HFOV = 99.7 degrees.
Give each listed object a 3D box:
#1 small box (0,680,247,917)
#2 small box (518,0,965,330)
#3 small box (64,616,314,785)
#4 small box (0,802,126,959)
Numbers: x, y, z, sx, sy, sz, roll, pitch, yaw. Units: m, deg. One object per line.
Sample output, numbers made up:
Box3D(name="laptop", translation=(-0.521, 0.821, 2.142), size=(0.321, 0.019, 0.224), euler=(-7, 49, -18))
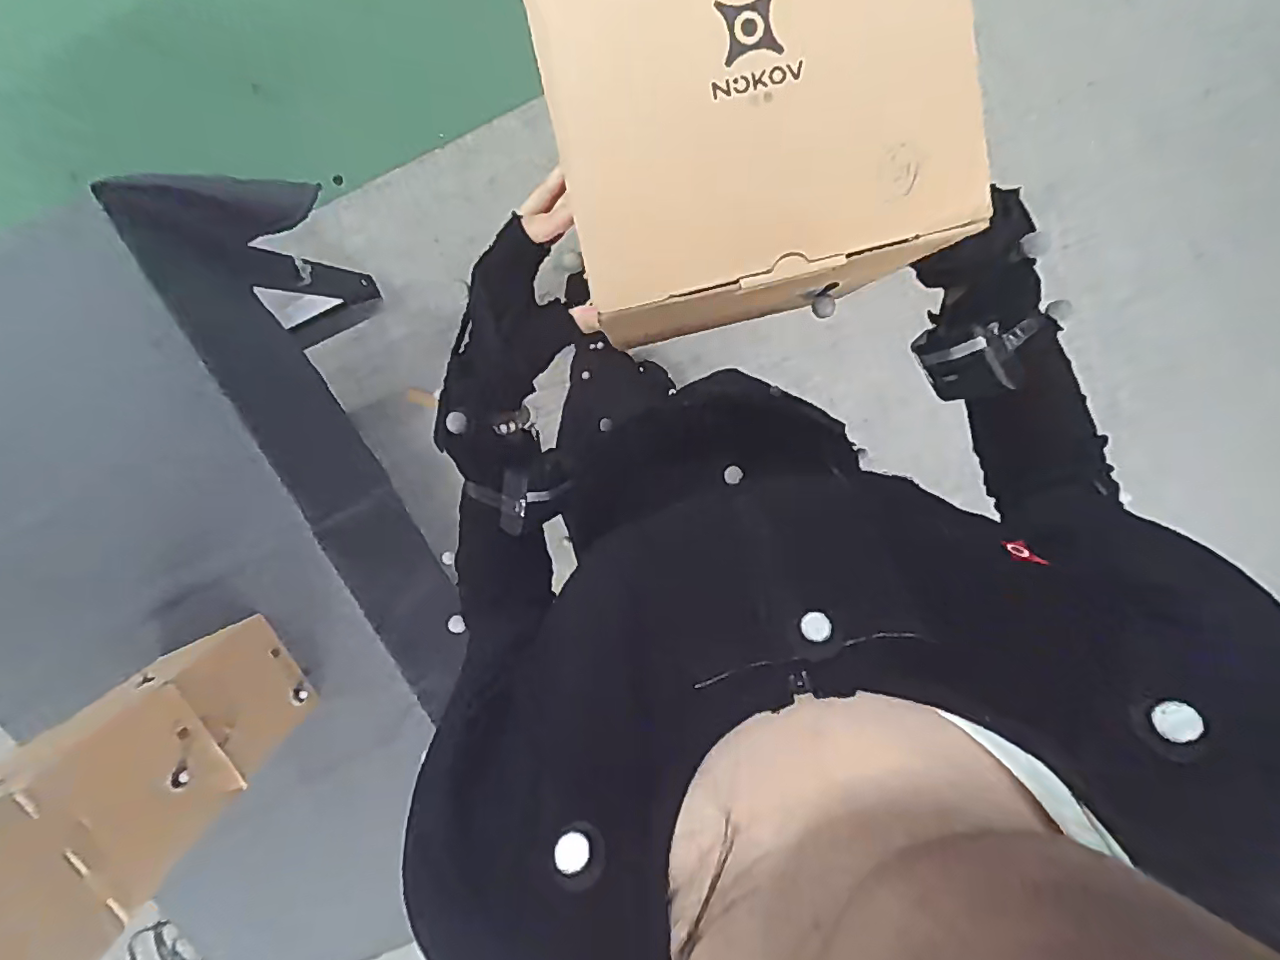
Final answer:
Box3D(name="small box", translation=(-0.590, 0.354, 0.584), size=(0.179, 0.176, 0.168), euler=(-24, 103, 5))
Box3D(name="small box", translation=(0.040, -0.186, 0.294), size=(0.168, 0.176, 0.179), euler=(-12, 99, 3))
Box3D(name="small box", translation=(-0.591, 0.315, 0.742), size=(0.179, 0.176, 0.168), euler=(-24, 103, 6))
Box3D(name="small box", translation=(-0.587, 0.391, 0.424), size=(0.168, 0.176, 0.179), euler=(-22, 103, 5))
